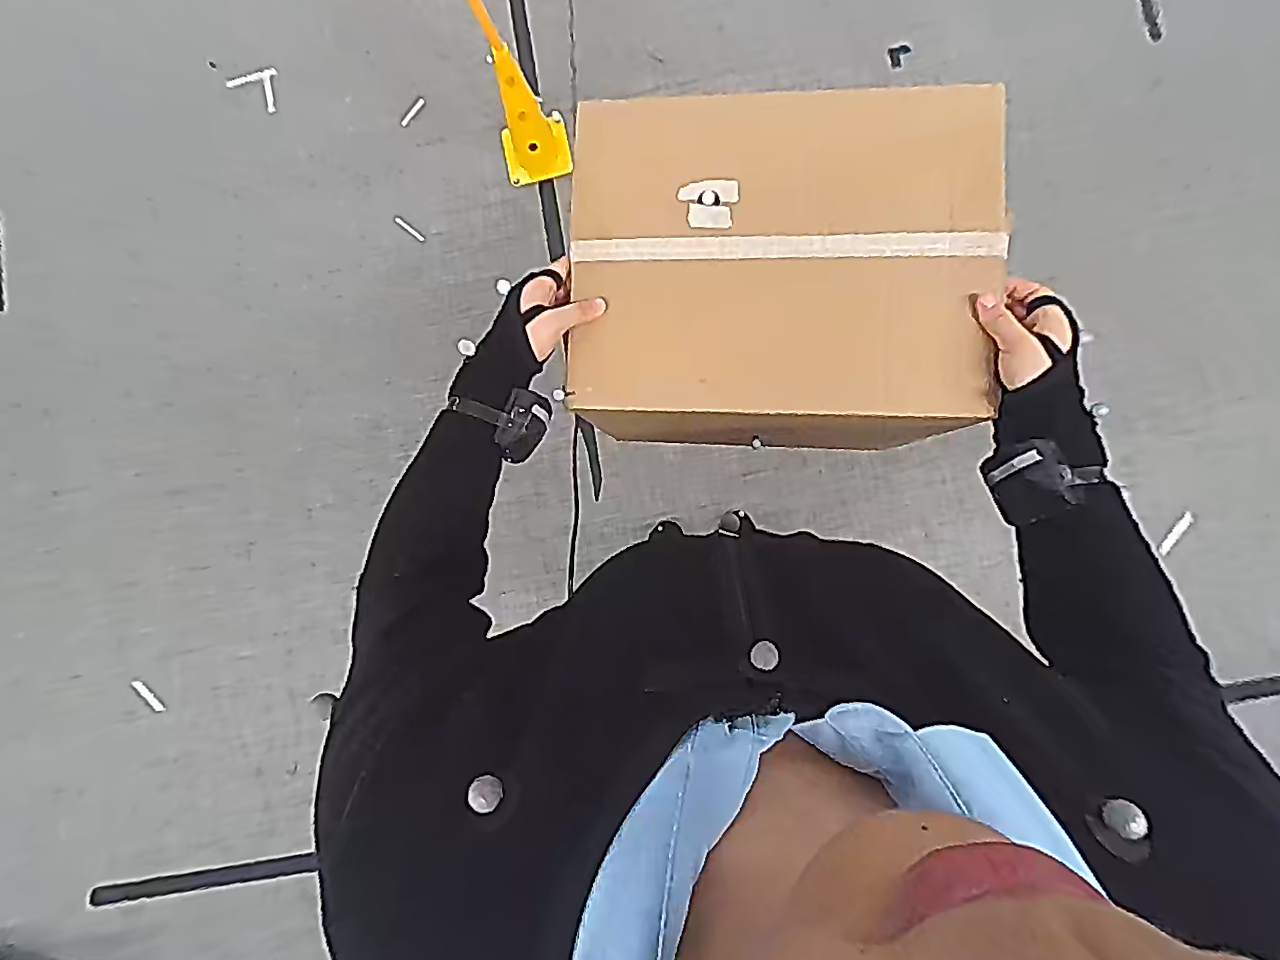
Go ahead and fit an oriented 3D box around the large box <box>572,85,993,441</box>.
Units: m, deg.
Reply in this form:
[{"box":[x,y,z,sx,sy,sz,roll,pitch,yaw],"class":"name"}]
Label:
[{"box":[0.153,-0.216,0.675,0.408,0.320,0.320,2,87,8],"class":"large box"}]
